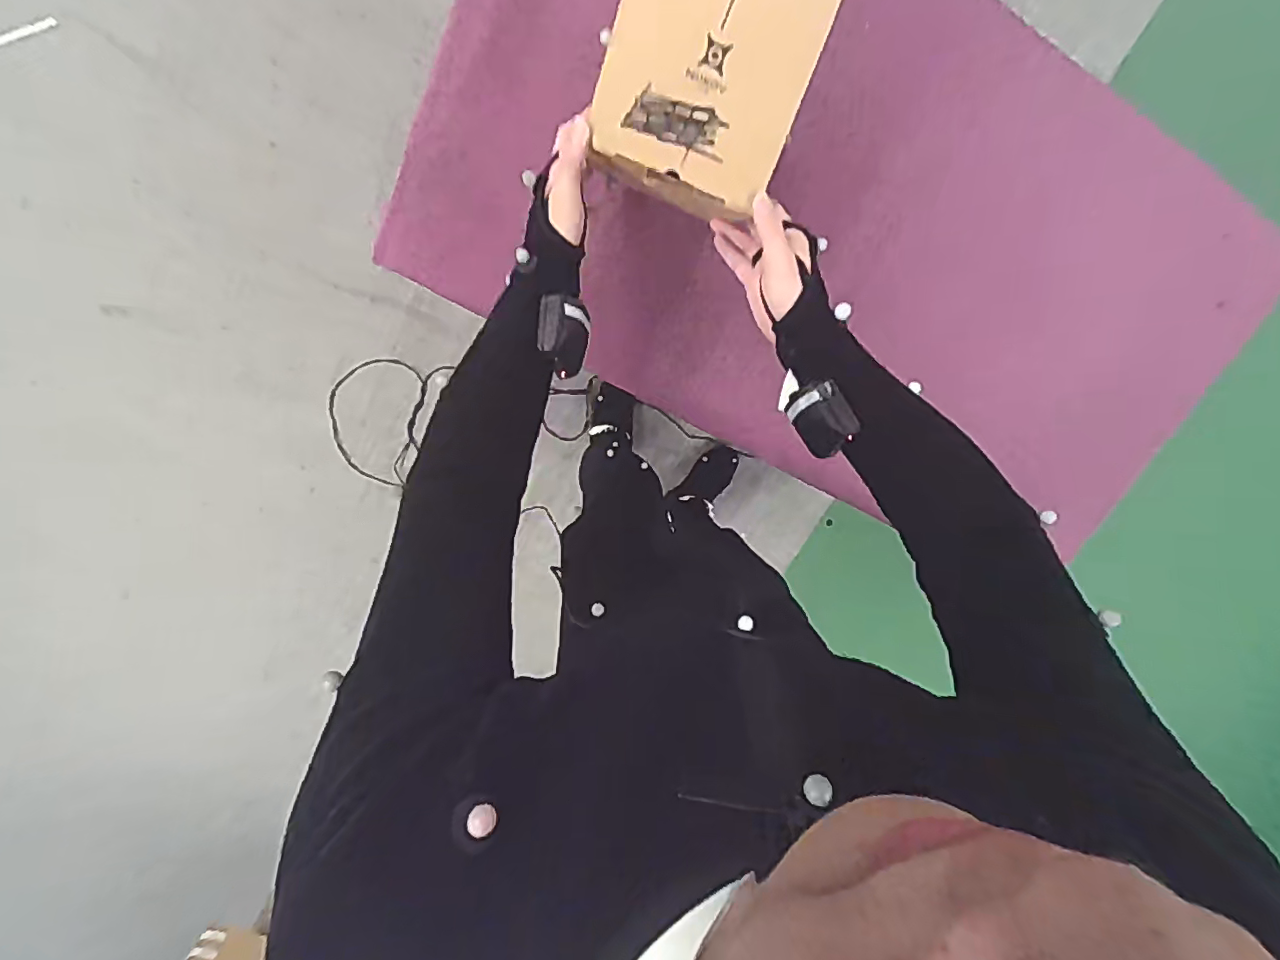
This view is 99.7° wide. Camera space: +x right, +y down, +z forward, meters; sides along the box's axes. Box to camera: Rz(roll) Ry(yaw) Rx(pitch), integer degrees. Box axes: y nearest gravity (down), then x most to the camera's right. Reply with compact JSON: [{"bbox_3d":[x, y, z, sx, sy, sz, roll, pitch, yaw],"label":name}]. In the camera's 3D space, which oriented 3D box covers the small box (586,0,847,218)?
[{"bbox_3d":[0.056,-0.367,0.514,0.168,0.176,0.179,18,111,-12],"label":"small box"}]
